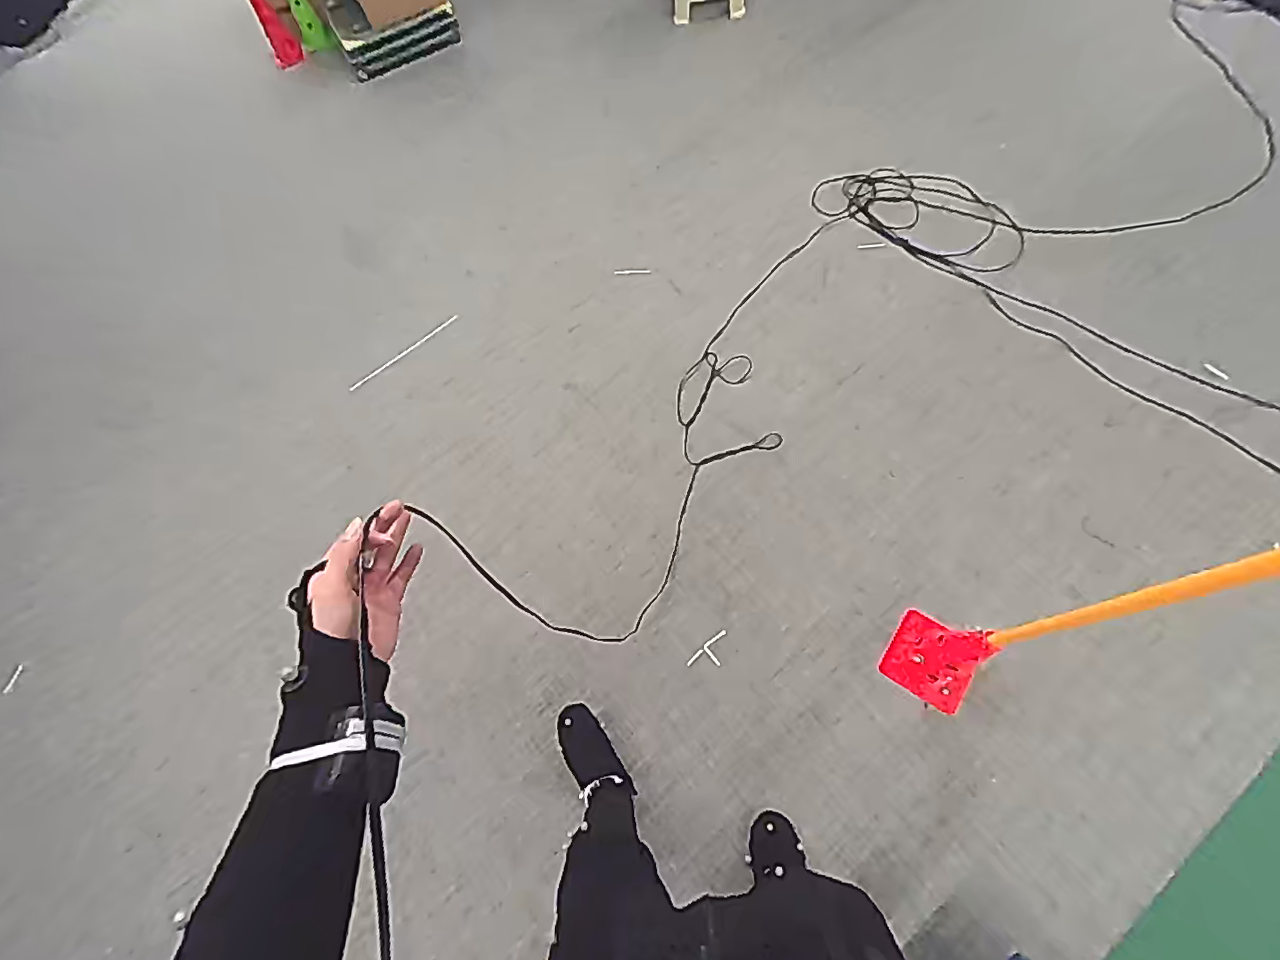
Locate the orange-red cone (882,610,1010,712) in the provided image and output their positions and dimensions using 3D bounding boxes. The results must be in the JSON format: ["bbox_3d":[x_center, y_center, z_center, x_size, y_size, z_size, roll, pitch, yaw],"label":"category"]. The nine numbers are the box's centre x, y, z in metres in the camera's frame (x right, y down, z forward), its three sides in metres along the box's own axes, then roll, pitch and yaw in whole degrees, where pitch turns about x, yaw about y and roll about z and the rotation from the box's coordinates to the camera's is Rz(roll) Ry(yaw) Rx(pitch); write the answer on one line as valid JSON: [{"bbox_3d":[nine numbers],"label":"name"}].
[{"bbox_3d":[0.728,0.384,1.224,0.198,0.360,0.199,32,72,19],"label":"orange-red cone"}]
